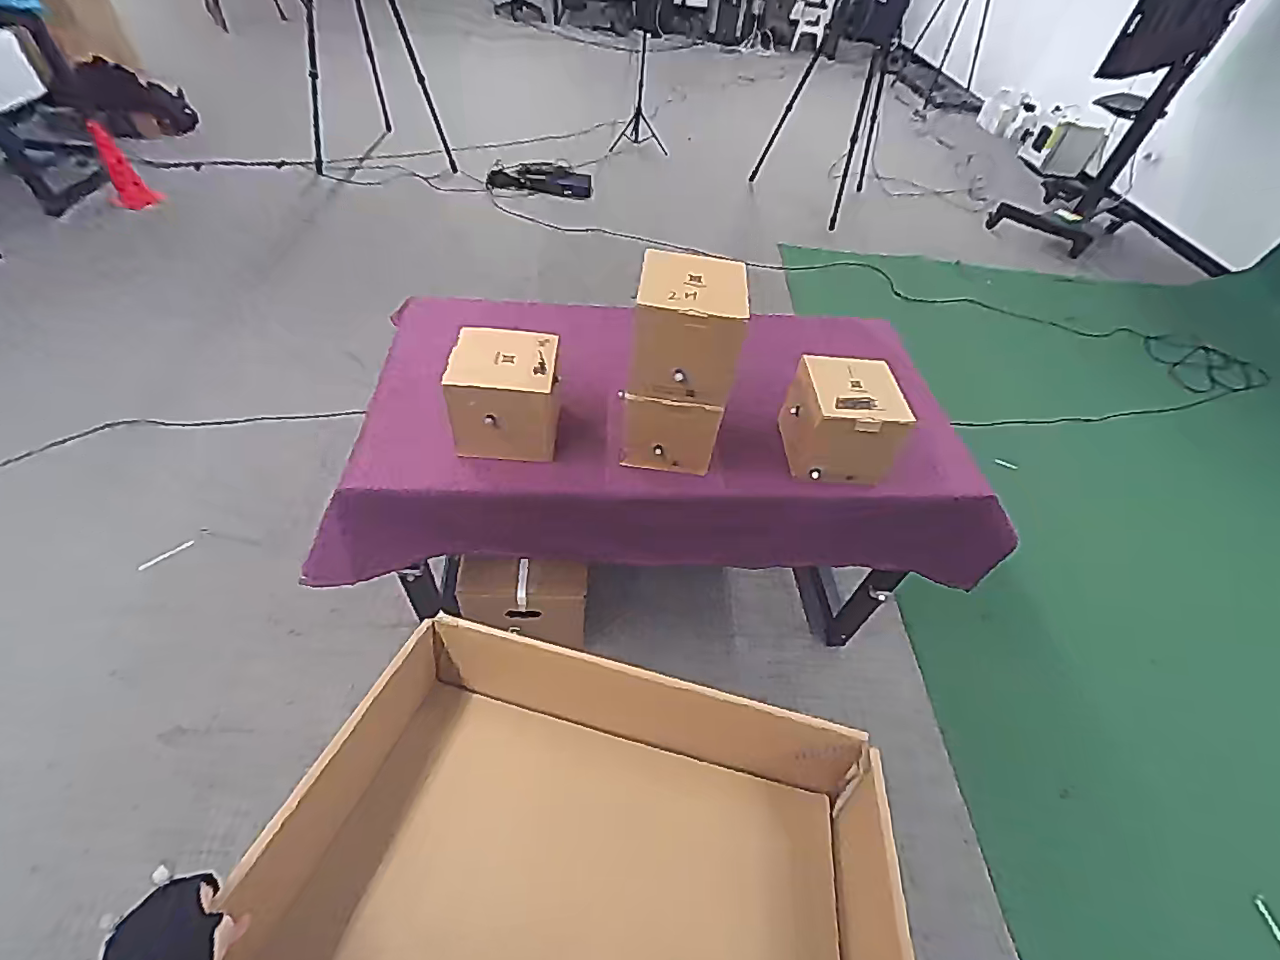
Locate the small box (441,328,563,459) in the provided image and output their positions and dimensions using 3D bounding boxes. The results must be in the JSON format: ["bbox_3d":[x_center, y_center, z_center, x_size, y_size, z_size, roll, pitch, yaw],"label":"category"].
[{"bbox_3d":[-0.238,-0.153,0.978,0.179,0.176,0.168,3,50,-4],"label":"small box"}]

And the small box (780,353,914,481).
[{"bbox_3d":[0.378,-0.115,1.022,0.168,0.176,0.179,3,49,-4],"label":"small box"}]

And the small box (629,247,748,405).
[{"bbox_3d":[0.076,-0.251,0.886,0.168,0.176,0.179,8,50,0],"label":"small box"}]

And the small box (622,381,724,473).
[{"bbox_3d":[0.058,-0.139,1.006,0.168,0.176,0.179,7,50,-1],"label":"small box"}]
